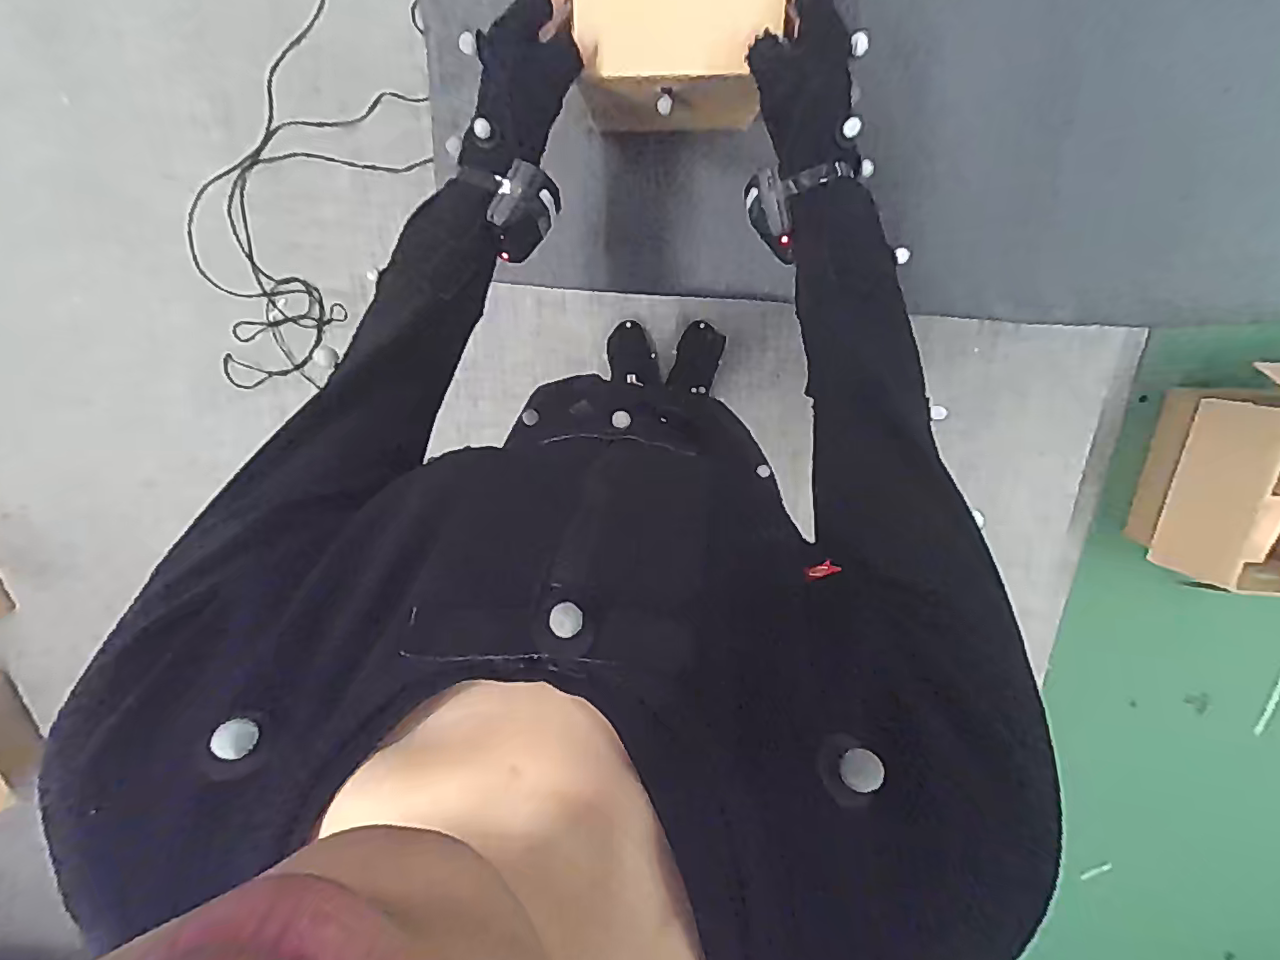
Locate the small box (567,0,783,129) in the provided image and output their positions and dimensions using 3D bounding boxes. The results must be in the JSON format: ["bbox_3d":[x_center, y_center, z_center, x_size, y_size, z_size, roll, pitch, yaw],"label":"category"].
[{"bbox_3d":[0.031,-0.441,0.498,0.179,0.176,0.168,1,109,3],"label":"small box"}]
